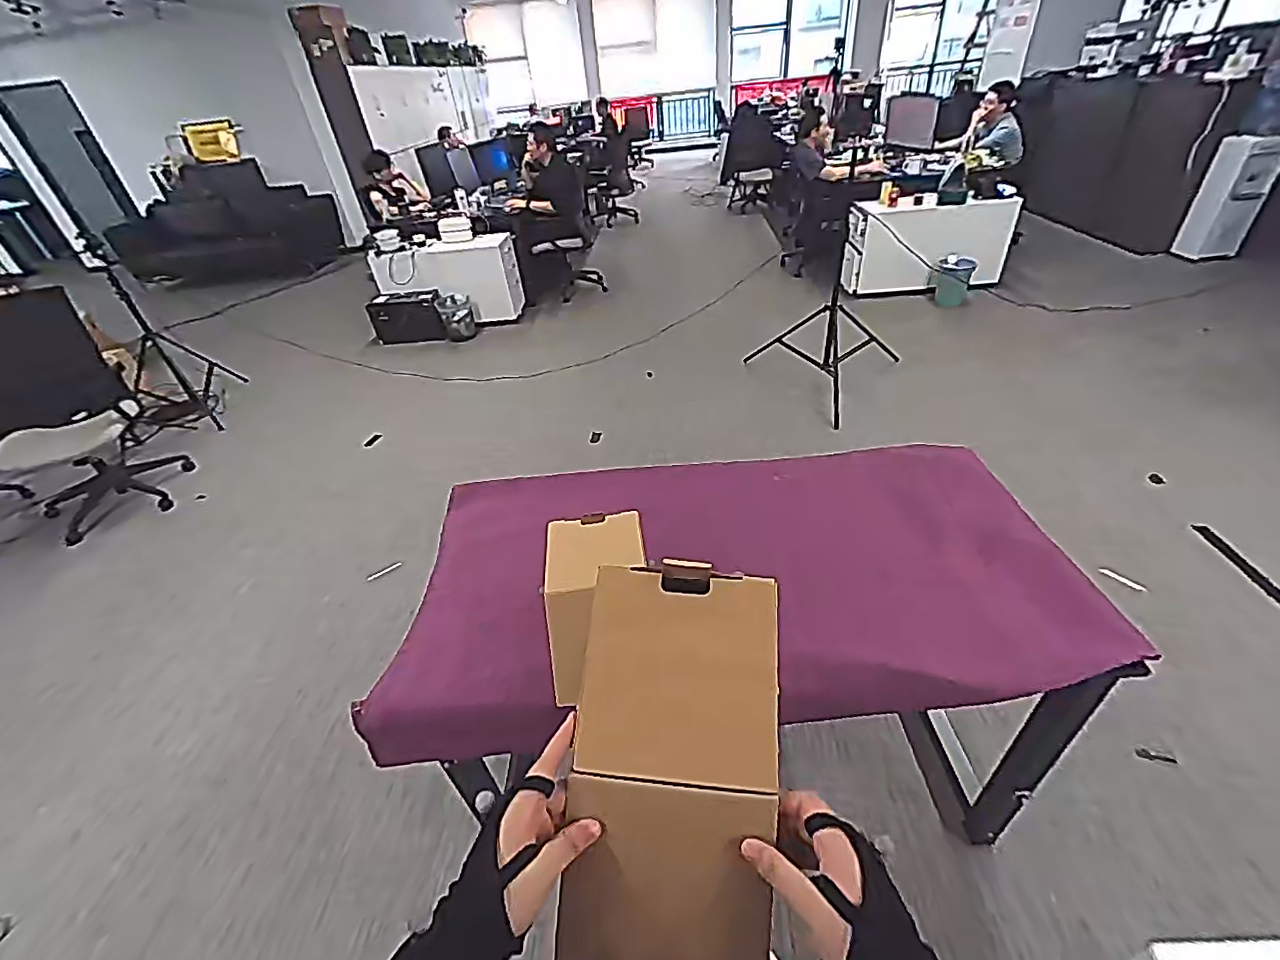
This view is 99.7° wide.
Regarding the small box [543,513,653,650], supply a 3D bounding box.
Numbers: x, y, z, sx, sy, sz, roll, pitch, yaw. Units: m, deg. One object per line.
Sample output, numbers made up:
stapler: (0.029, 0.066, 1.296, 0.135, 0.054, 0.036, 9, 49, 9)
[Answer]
small box: (-0.071, 0.185, 0.962, 0.168, 0.176, 0.179, -7, 35, -2)
